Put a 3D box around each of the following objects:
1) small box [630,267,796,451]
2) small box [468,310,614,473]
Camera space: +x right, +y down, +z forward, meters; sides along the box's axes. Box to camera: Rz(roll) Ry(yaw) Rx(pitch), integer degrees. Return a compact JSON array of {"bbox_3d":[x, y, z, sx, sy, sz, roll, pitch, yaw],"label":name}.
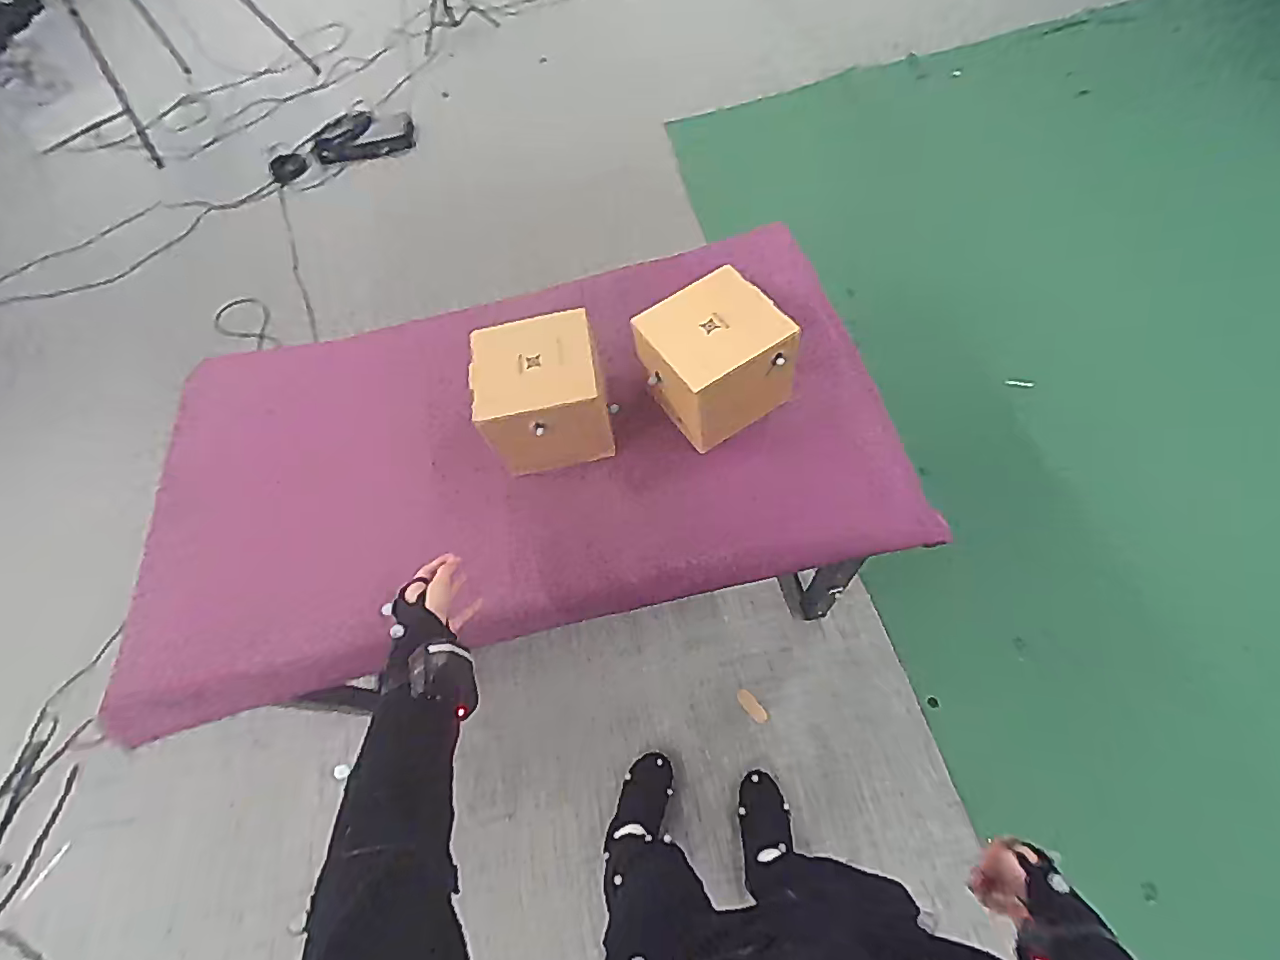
[{"bbox_3d":[0.109,-0.175,0.817,0.179,0.176,0.168,-32,62,-9],"label":"small box"},{"bbox_3d":[-0.145,-0.127,0.826,0.179,0.176,0.168,-10,62,2],"label":"small box"}]
